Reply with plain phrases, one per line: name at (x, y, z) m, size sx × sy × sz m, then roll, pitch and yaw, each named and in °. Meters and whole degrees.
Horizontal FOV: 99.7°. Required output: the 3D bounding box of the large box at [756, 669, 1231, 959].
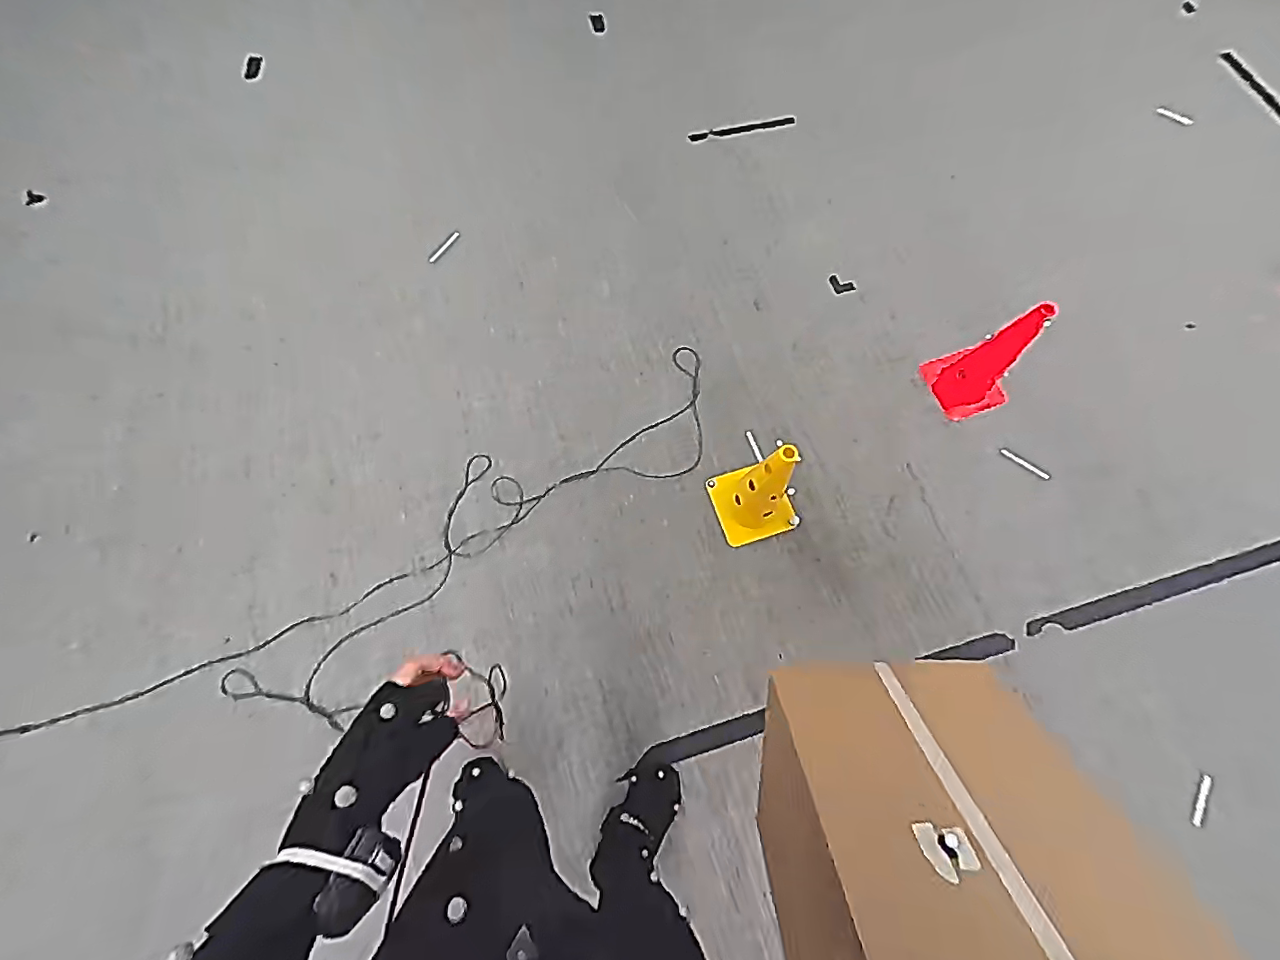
large box at (0.340, 0.483, 0.641) m, size 0.320 × 0.408 × 0.320 m, roll -2°, pitch 112°, yaw 1°

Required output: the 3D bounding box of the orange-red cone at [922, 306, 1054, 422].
orange-red cone at (0.955, -0.334, 1.435) m, size 0.199 × 0.360 × 0.198 m, roll -18°, pitch 71°, yaw -6°
